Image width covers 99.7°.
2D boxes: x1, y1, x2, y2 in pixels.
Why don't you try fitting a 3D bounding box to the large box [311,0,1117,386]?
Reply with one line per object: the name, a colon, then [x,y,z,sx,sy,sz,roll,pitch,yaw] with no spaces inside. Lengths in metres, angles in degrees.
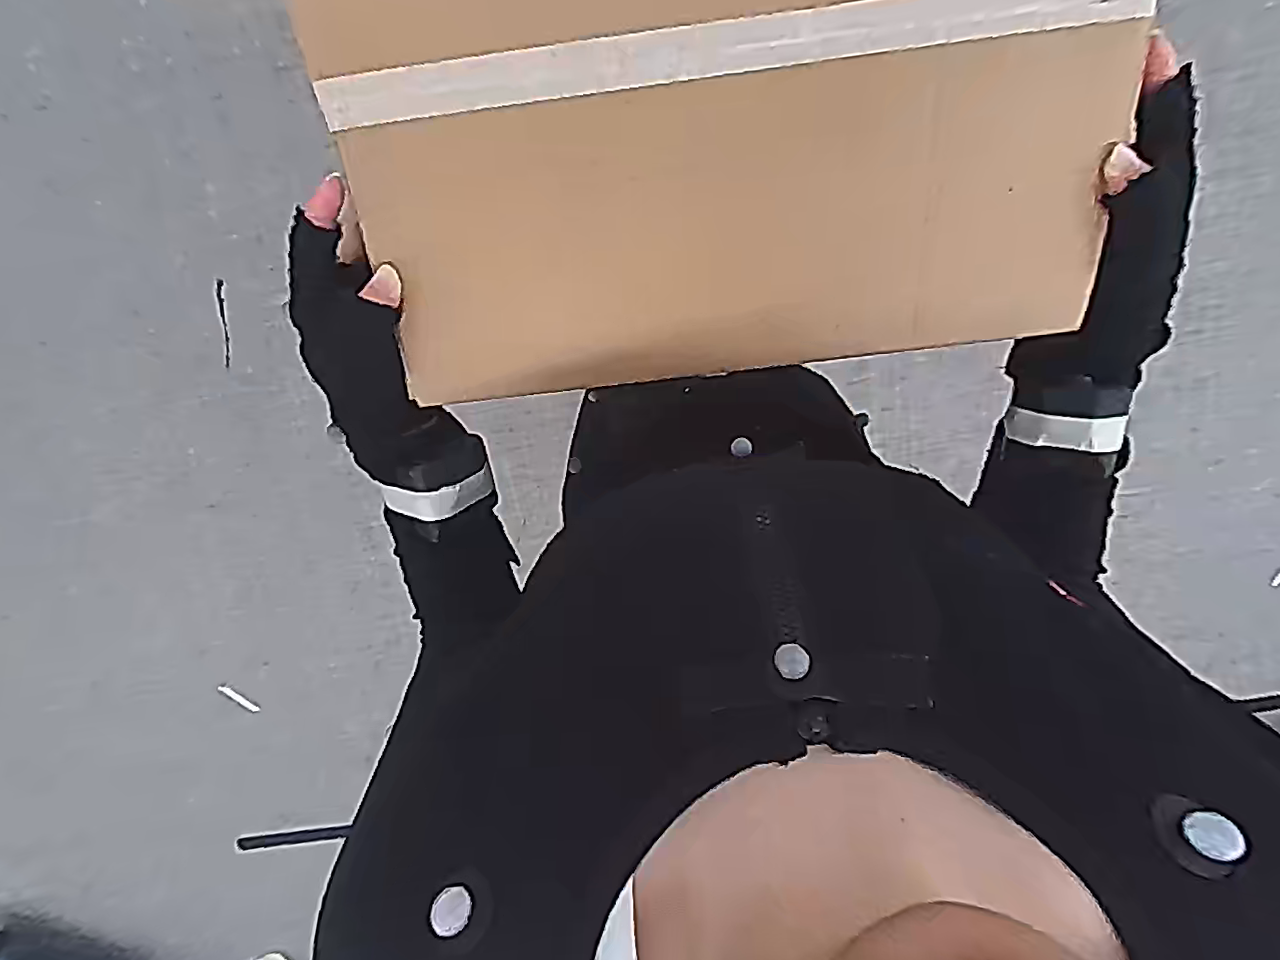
large box: [0.036,-0.282,0.410,0.408,0.320,0.320,-7,115,2]
